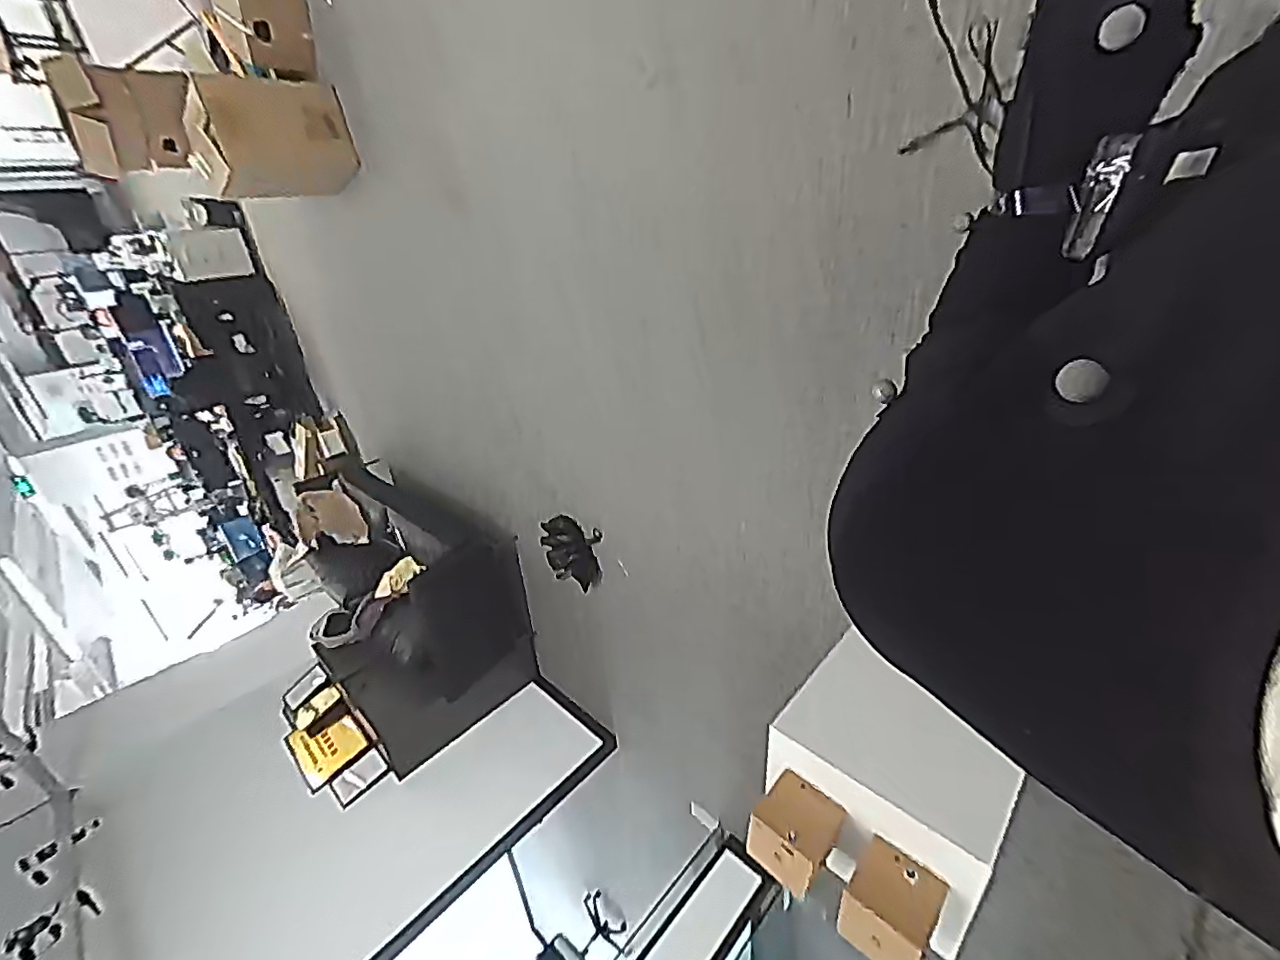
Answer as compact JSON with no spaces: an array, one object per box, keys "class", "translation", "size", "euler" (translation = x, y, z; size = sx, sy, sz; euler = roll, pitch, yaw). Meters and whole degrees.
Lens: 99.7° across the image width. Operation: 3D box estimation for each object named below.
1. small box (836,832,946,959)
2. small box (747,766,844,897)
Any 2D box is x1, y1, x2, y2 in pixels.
[{"class":"small box","translation":[0.558,0.944,1.202],"size":[0.168,0.176,0.179],"euler":[19,124,40]},{"class":"small box","translation":[0.386,0.867,1.345],"size":[0.168,0.176,0.179],"euler":[25,130,37]}]
